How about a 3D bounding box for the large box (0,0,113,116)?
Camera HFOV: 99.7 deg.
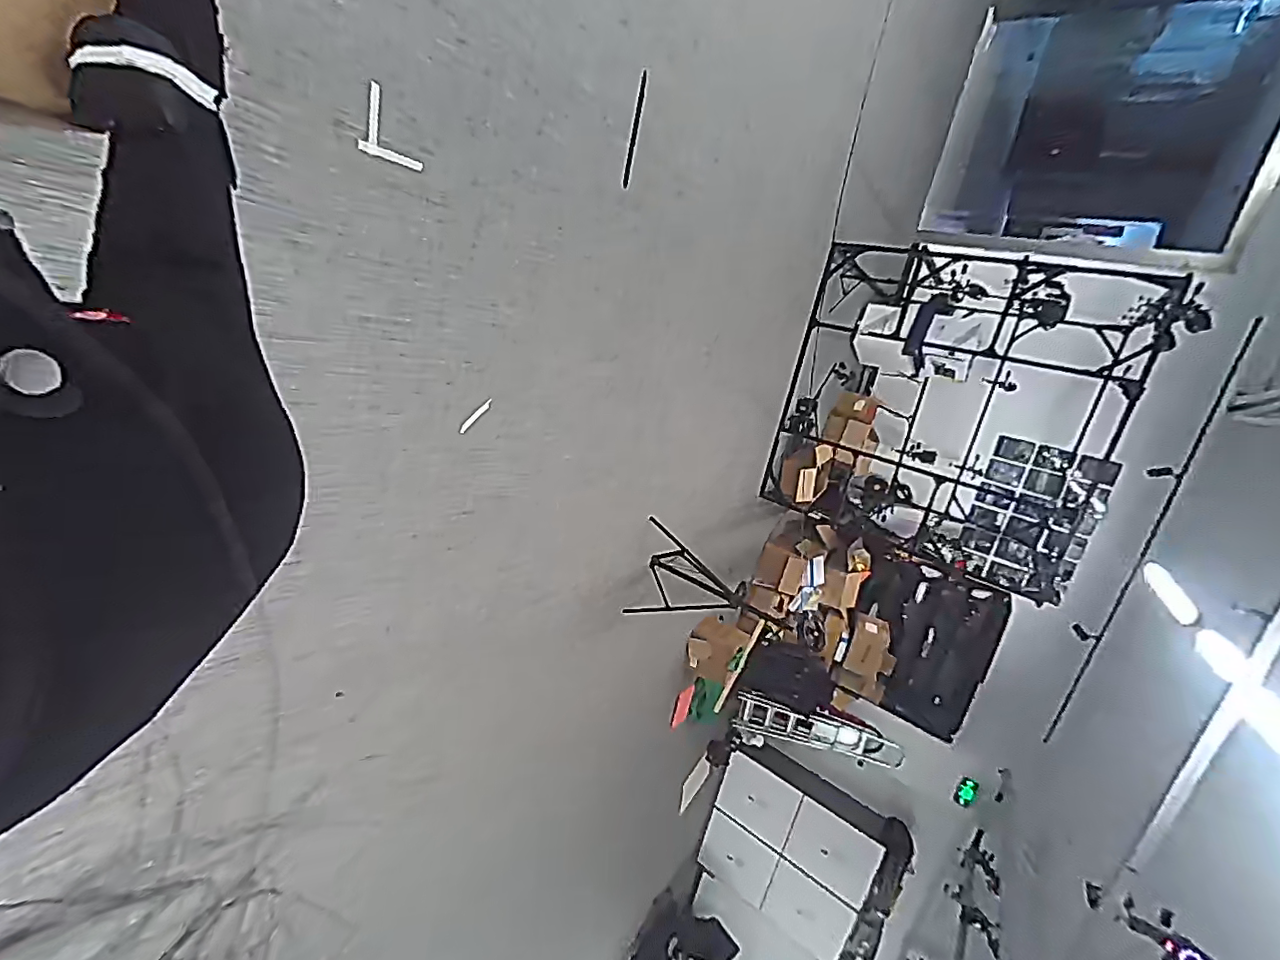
[{"bbox_3d":[-0.582,-0.451,0.272,0.408,0.320,0.320,-4,115,-59],"label":"large box"}]
